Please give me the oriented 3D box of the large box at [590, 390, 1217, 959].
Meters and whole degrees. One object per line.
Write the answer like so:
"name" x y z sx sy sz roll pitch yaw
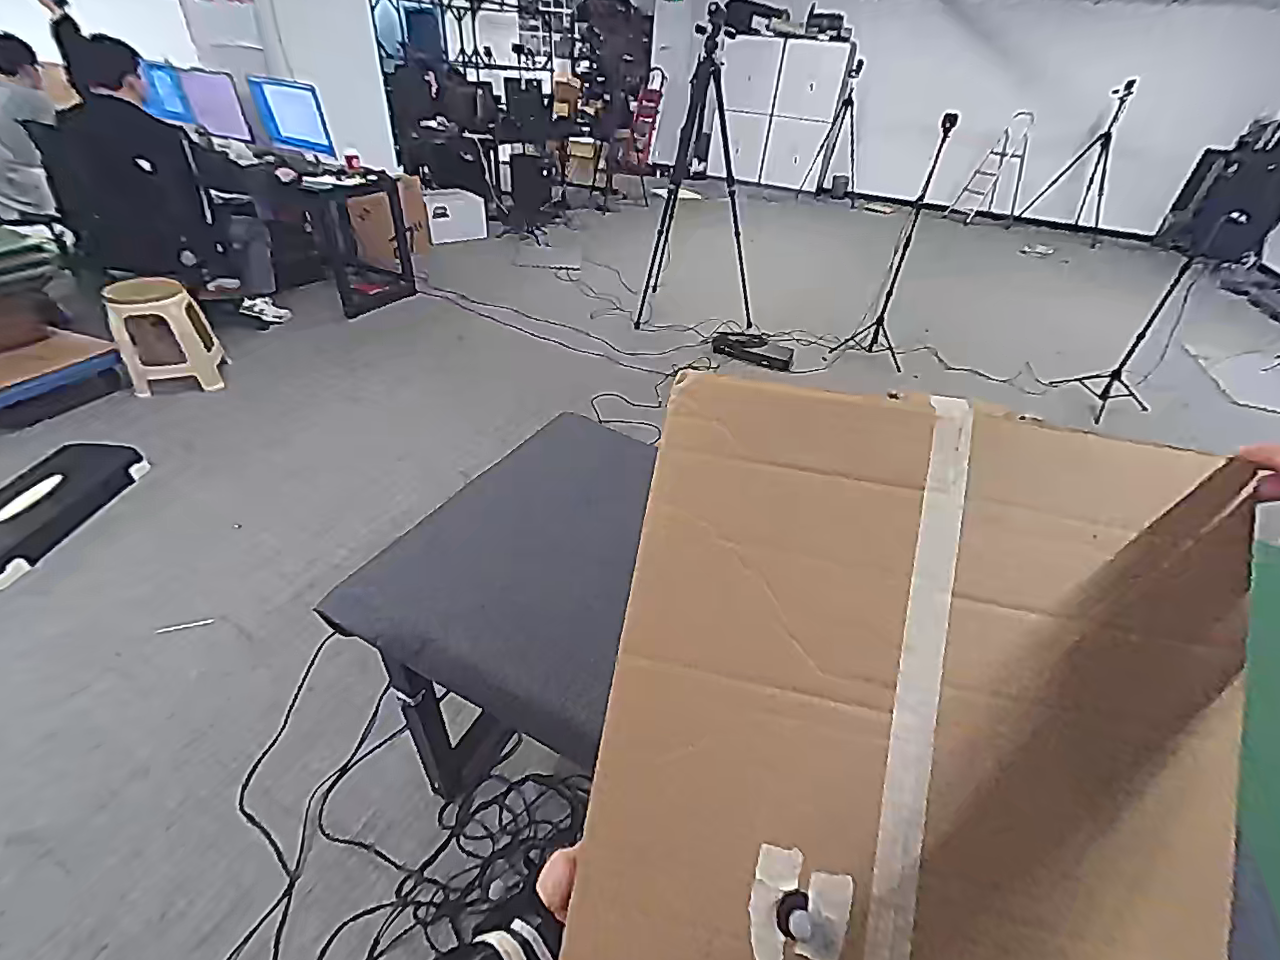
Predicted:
"large box" 0.154 0.175 0.445 0.320 0.408 0.320 10 -6 5
